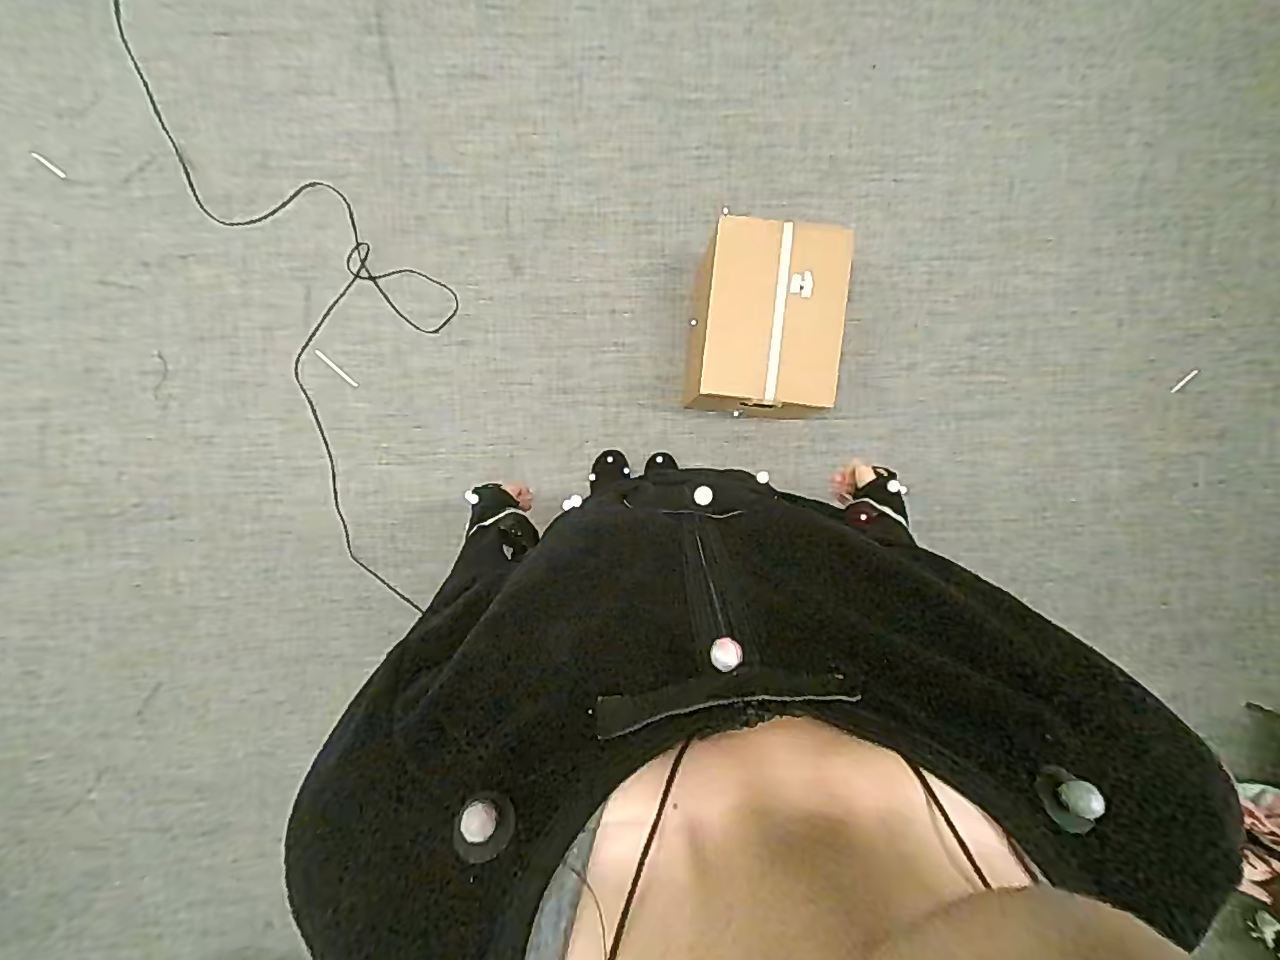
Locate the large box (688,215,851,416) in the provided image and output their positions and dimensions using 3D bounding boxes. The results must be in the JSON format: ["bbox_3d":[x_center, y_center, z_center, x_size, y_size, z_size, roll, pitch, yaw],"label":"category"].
[{"bbox_3d":[0.304,-0.385,1.366,0.320,0.320,0.408,6,91,-3],"label":"large box"}]
